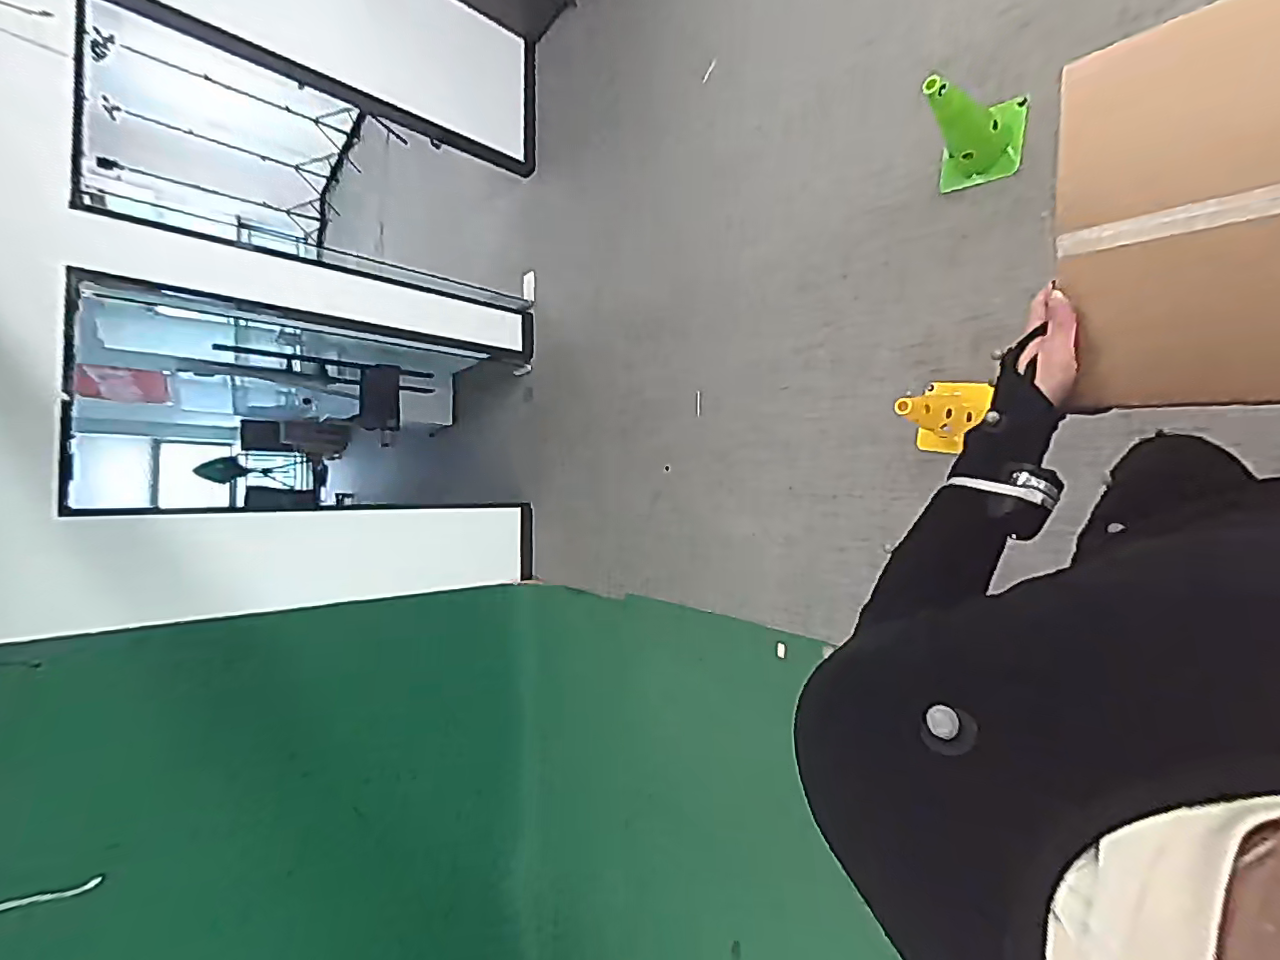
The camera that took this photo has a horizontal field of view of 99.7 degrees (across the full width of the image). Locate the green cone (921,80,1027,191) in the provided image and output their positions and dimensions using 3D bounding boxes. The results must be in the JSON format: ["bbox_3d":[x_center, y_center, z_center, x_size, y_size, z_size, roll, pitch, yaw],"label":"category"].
[{"bbox_3d":[0.817,-0.928,1.389,0.200,0.368,0.202,8,97,50],"label":"green cone"}]

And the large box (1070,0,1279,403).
[{"bbox_3d":[0.654,-0.247,0.464,0.408,0.320,0.320,4,103,49],"label":"large box"}]
